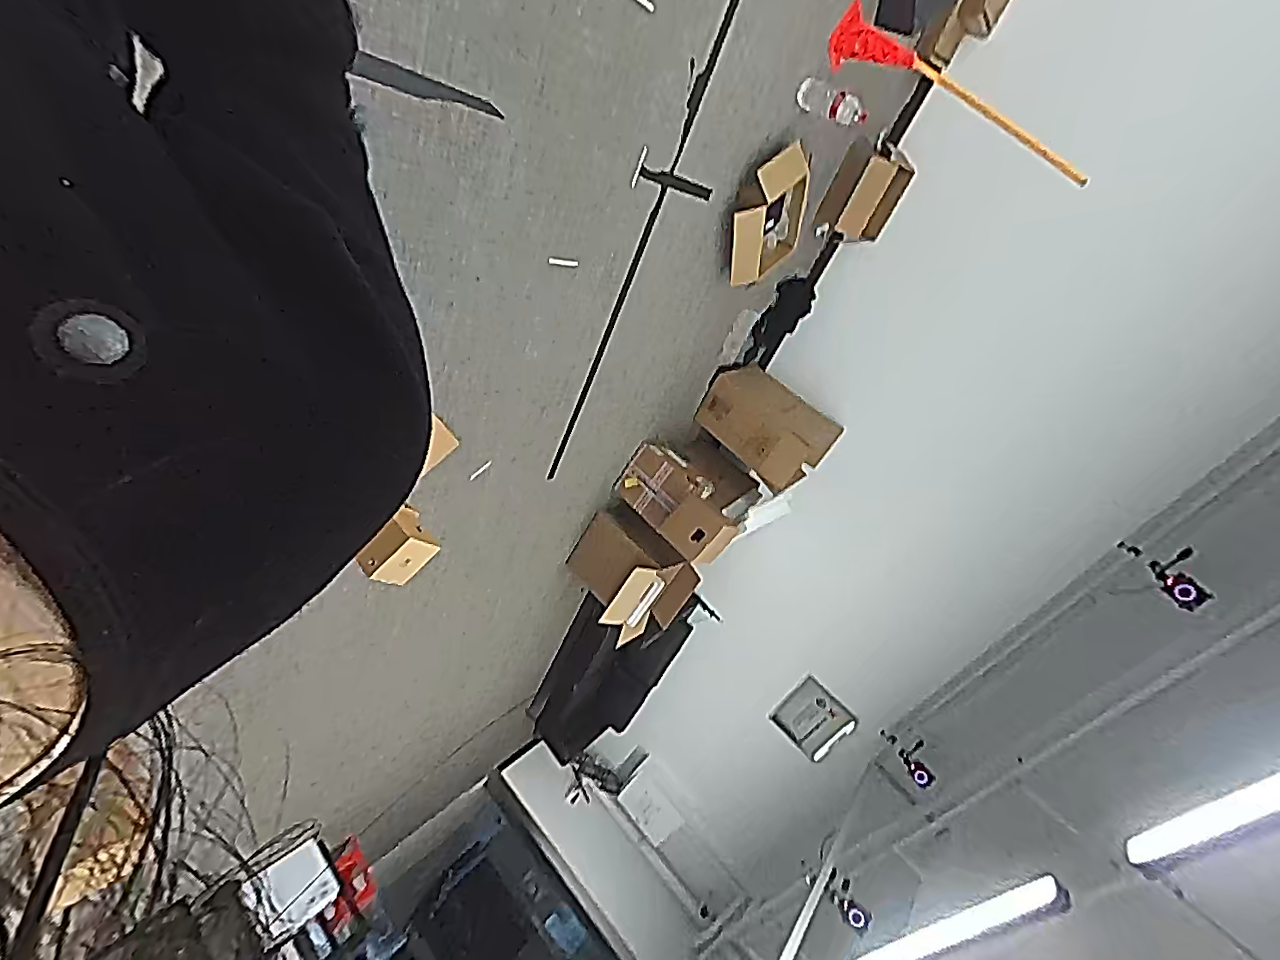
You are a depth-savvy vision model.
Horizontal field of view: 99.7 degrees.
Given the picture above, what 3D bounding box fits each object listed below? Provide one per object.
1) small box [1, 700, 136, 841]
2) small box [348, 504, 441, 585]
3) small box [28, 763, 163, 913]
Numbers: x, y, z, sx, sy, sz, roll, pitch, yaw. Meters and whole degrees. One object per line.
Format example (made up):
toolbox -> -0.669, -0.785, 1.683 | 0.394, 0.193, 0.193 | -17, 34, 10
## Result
small box -> -1.245, 0.625, 1.182 | 0.179, 0.176, 0.168 | -19, 146, -53
small box -> -0.779, 0.202, 1.710 | 0.179, 0.176, 0.168 | -44, 157, -3
small box -> -1.136, 0.738, 1.131 | 0.168, 0.176, 0.179 | -16, 143, -54
